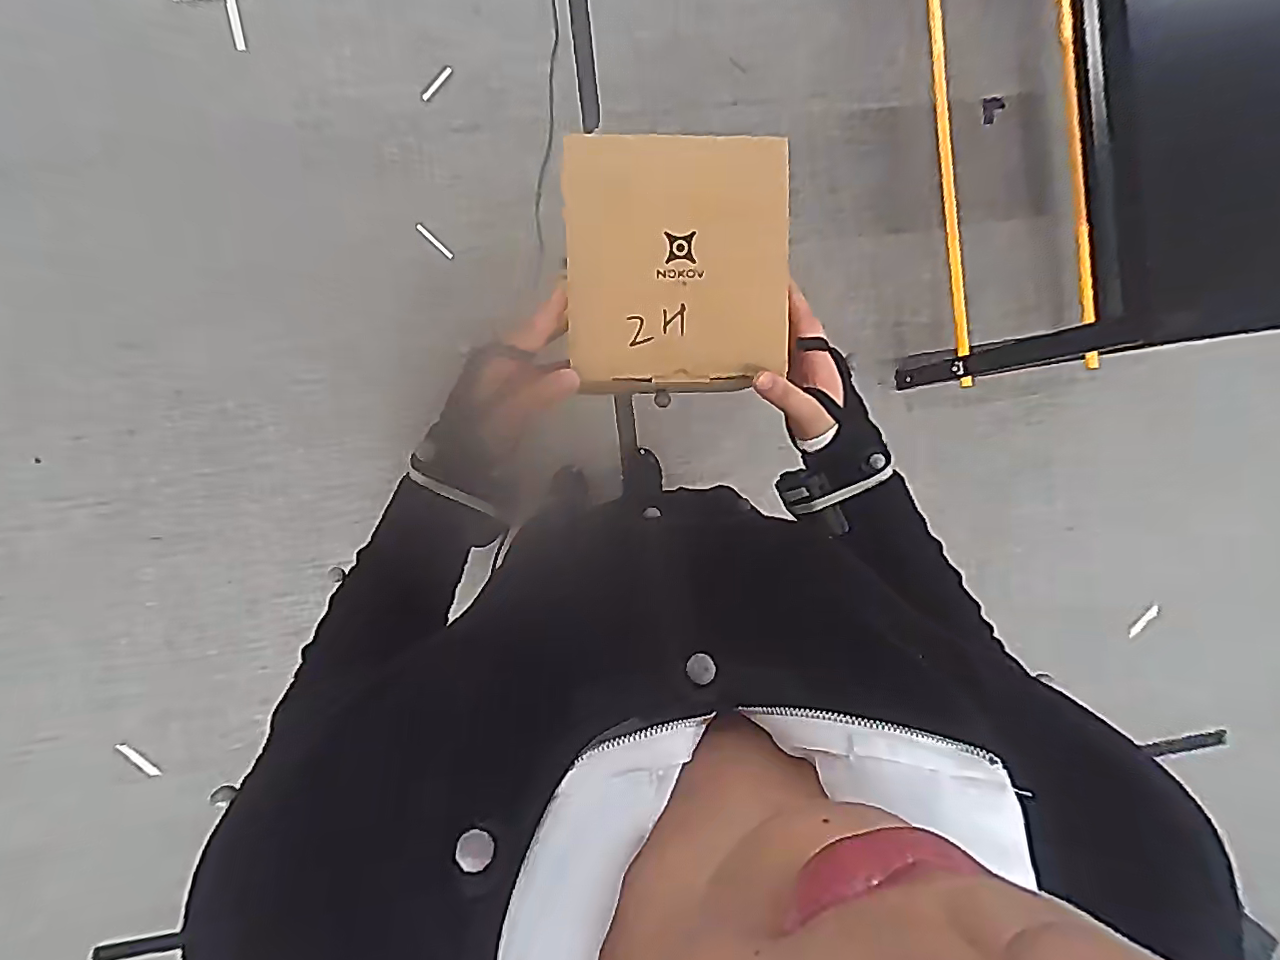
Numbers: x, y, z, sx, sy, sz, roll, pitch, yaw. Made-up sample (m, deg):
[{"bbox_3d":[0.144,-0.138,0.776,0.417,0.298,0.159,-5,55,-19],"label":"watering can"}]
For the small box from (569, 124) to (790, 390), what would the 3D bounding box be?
[{"bbox_3d":[0.024,-0.175,0.477,0.168,0.176,0.179,-2,95,-4],"label":"small box"}]

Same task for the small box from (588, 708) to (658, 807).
[{"bbox_3d":[-0.051,0.738,1.460,0.168,0.176,0.179,-8,93,-3],"label":"small box"}]
